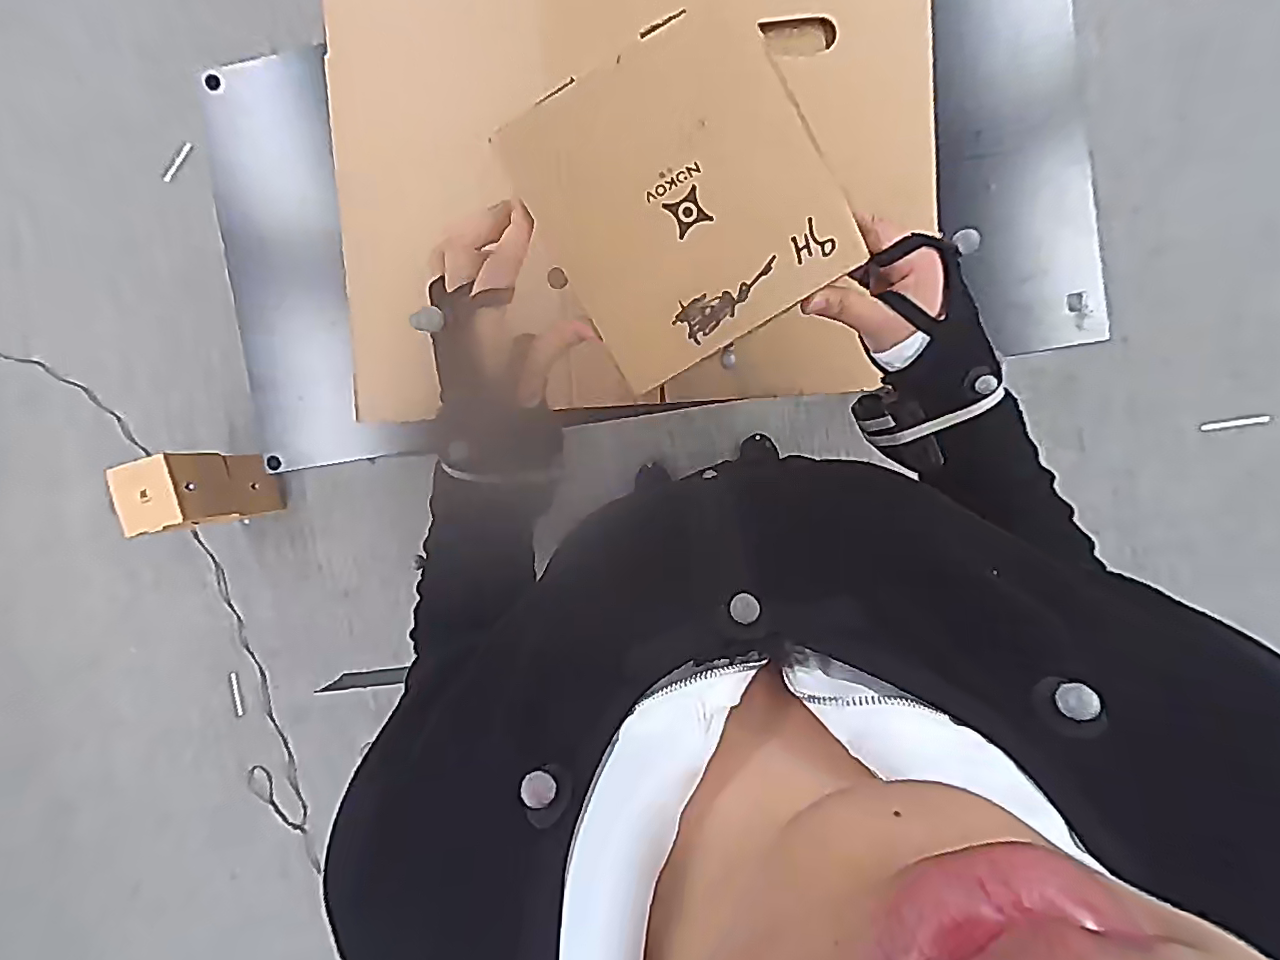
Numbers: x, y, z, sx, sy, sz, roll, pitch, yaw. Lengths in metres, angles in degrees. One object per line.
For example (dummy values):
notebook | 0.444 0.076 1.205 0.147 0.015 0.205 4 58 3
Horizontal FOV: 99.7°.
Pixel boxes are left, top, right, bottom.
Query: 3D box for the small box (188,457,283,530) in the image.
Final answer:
small box | -1.173 0.033 1.550 0.168 0.176 0.179 -12 93 7

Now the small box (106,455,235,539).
small box | -1.192 0.038 1.389 0.168 0.176 0.179 -16 91 6
